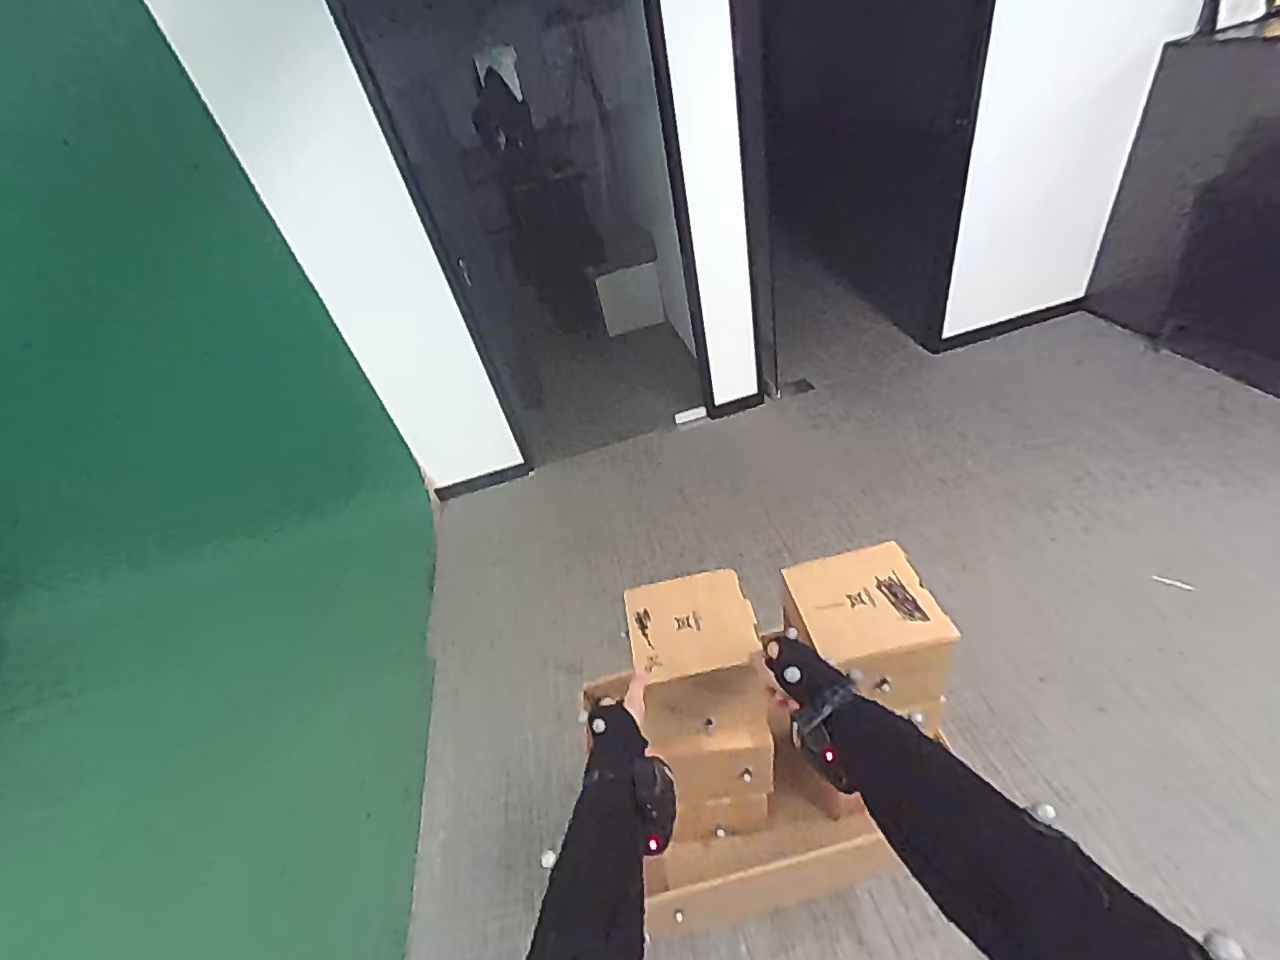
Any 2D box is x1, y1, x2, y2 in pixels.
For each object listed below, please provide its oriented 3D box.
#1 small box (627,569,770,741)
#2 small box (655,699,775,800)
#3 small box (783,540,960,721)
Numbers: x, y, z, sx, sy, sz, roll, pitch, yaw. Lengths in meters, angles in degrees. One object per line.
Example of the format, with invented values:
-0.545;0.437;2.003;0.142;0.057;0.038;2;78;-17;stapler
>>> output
0.083;0.260;0.806;0.179;0.176;0.168;-10;37;-1;small box
0.115;0.399;0.888;0.179;0.176;0.168;-9;37;2;small box
0.318;0.218;0.778;0.179;0.176;0.168;-15;39;2;small box
